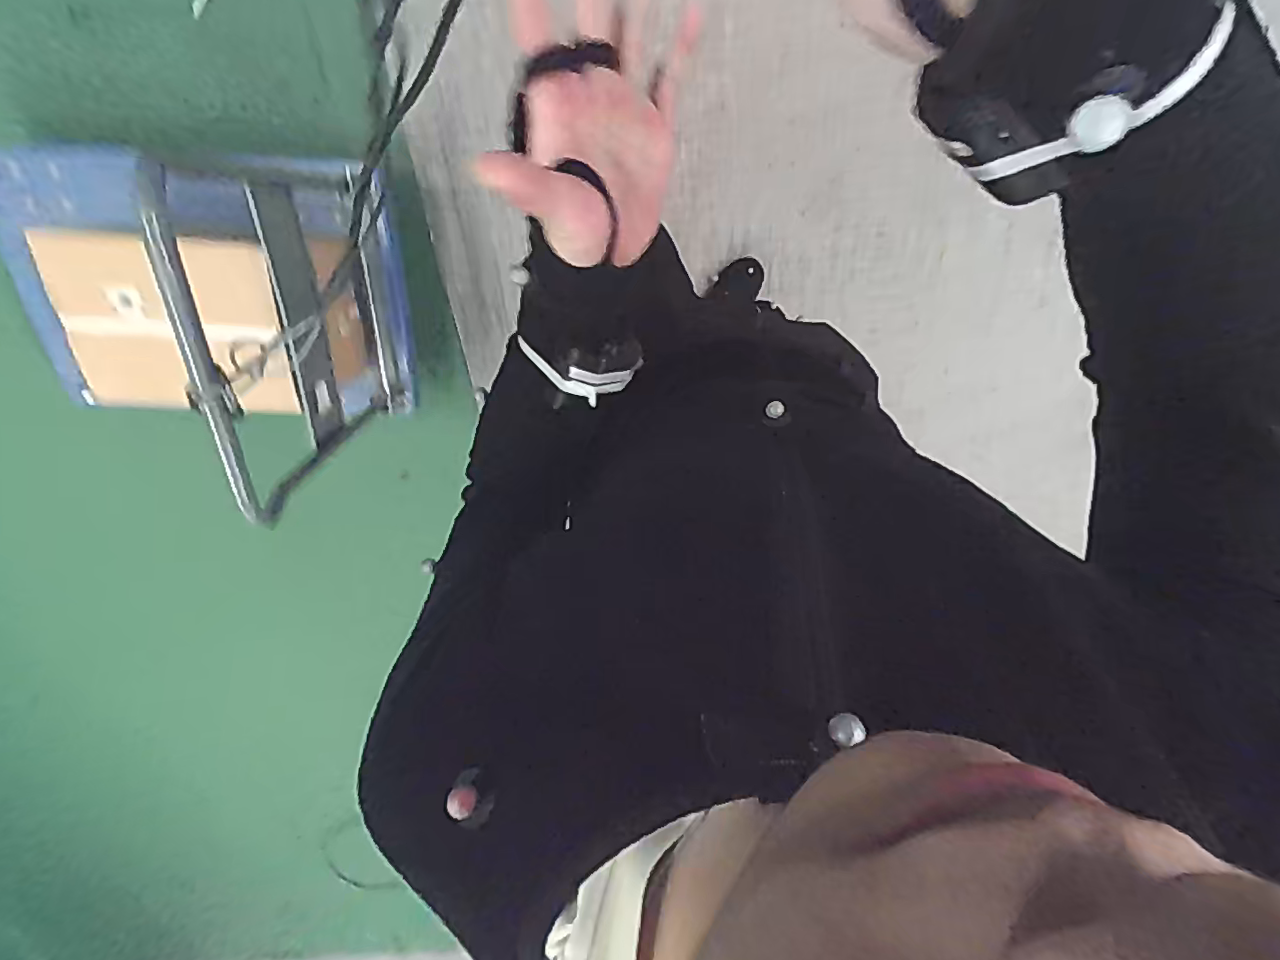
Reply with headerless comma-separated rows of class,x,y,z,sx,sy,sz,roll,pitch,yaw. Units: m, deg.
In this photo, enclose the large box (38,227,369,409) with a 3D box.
large box,-0.865,-0.355,1.150,0.408,0.320,0.320,3,116,-2
